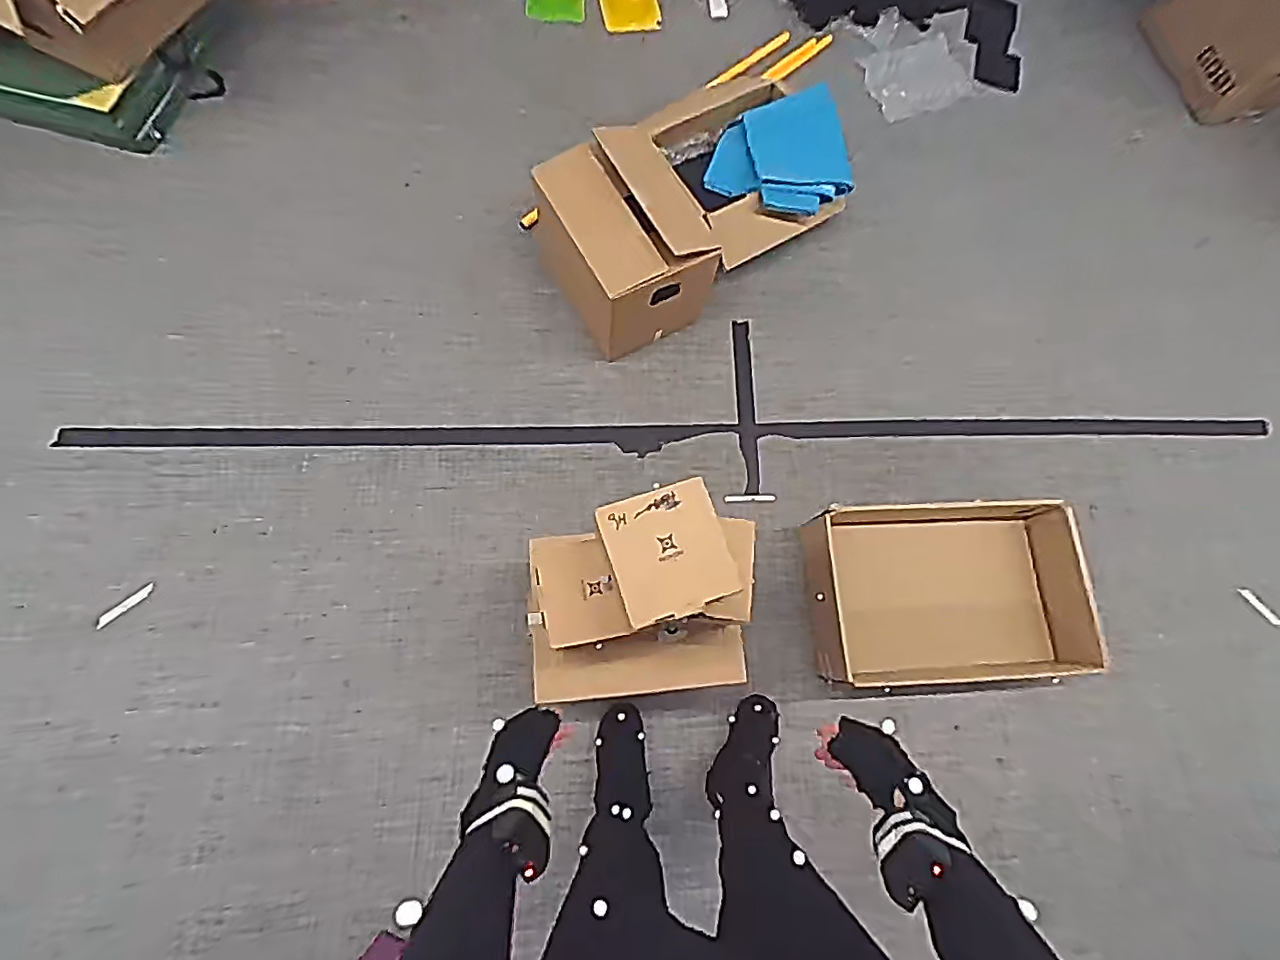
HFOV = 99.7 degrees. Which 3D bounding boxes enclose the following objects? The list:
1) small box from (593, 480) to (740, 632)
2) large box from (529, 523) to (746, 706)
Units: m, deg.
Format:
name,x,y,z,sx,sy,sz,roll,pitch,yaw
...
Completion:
name,x,y,z,sx,sy,sz,roll,pitch,yaw
small box,0.032,0.121,0.828,0.168,0.176,0.179,-17,77,-9
large box,-0.022,0.294,1.198,0.408,0.320,0.320,-4,75,-6
